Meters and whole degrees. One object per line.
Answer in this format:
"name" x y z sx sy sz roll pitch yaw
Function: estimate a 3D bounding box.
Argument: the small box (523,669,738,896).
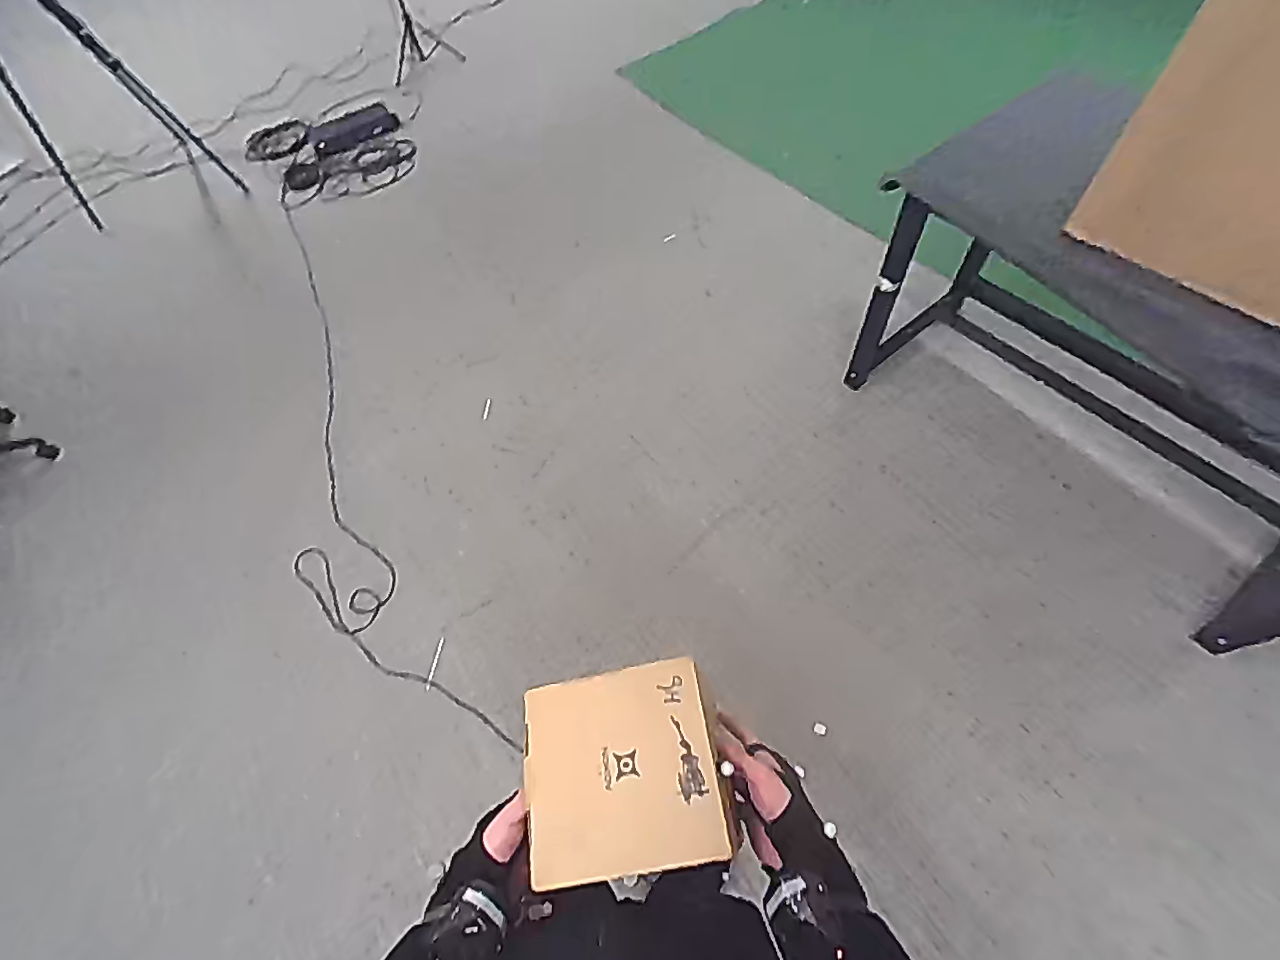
"small box" -0.005 0.309 0.557 0.179 0.176 0.168 -13 58 7
